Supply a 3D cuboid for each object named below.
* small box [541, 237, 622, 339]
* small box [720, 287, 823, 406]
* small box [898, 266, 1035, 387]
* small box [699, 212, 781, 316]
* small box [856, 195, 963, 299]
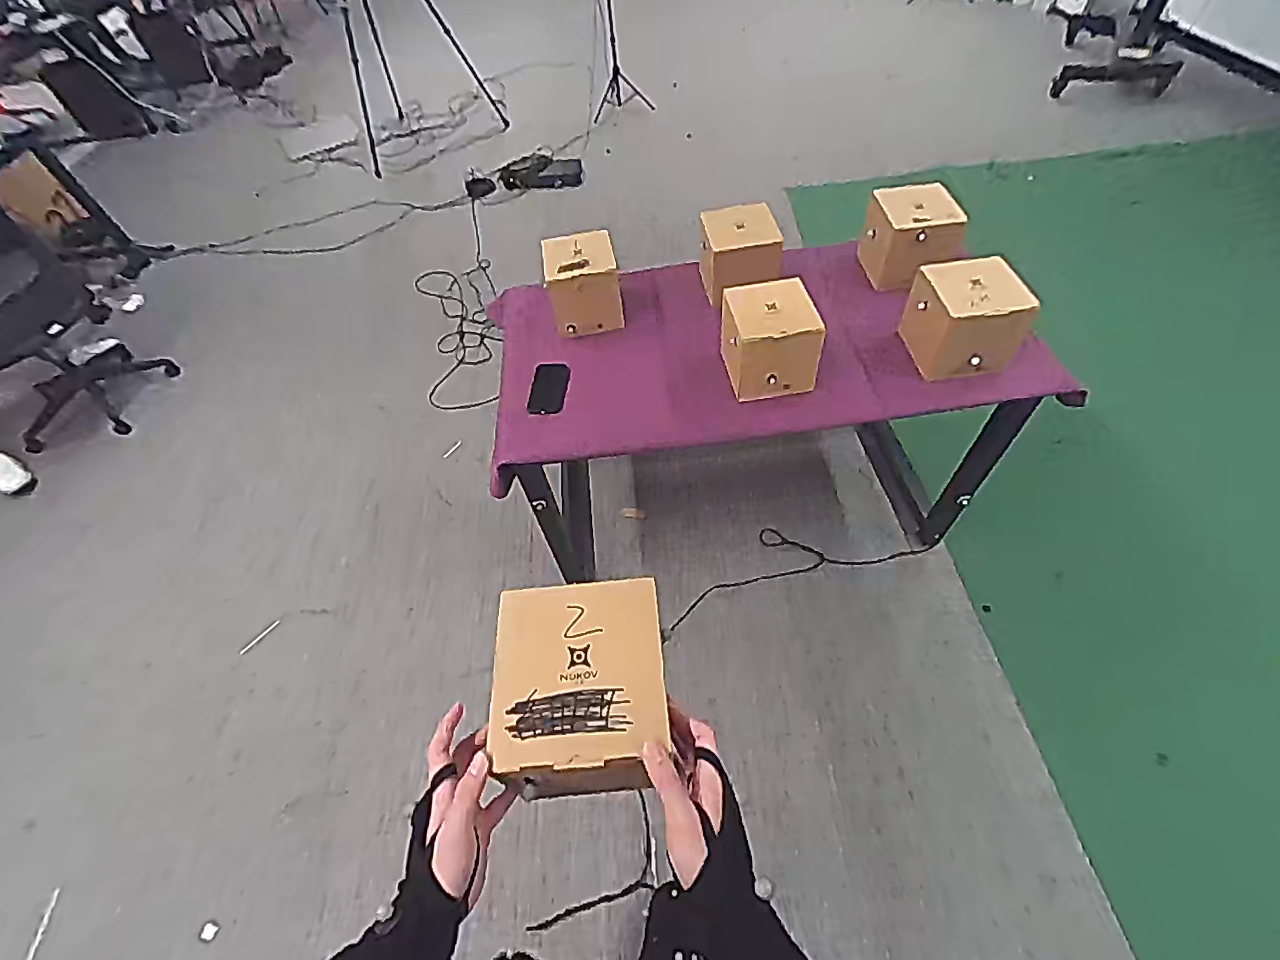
[{"bbox_3d":[-0.141,-0.464,1.332,0.168,0.176,0.179,-10,53,-2],"label":"small box"},{"bbox_3d":[0.270,-0.284,1.157,0.168,0.176,0.179,-9,53,-1],"label":"small box"},{"bbox_3d":[0.669,-0.320,1.137,0.168,0.176,0.179,-6,53,3],"label":"small box"},{"bbox_3d":[0.240,-0.536,1.348,0.168,0.176,0.179,-8,54,1],"label":"small box"},{"bbox_3d":[0.649,-0.571,1.331,0.168,0.176,0.179,-6,53,3],"label":"small box"}]
